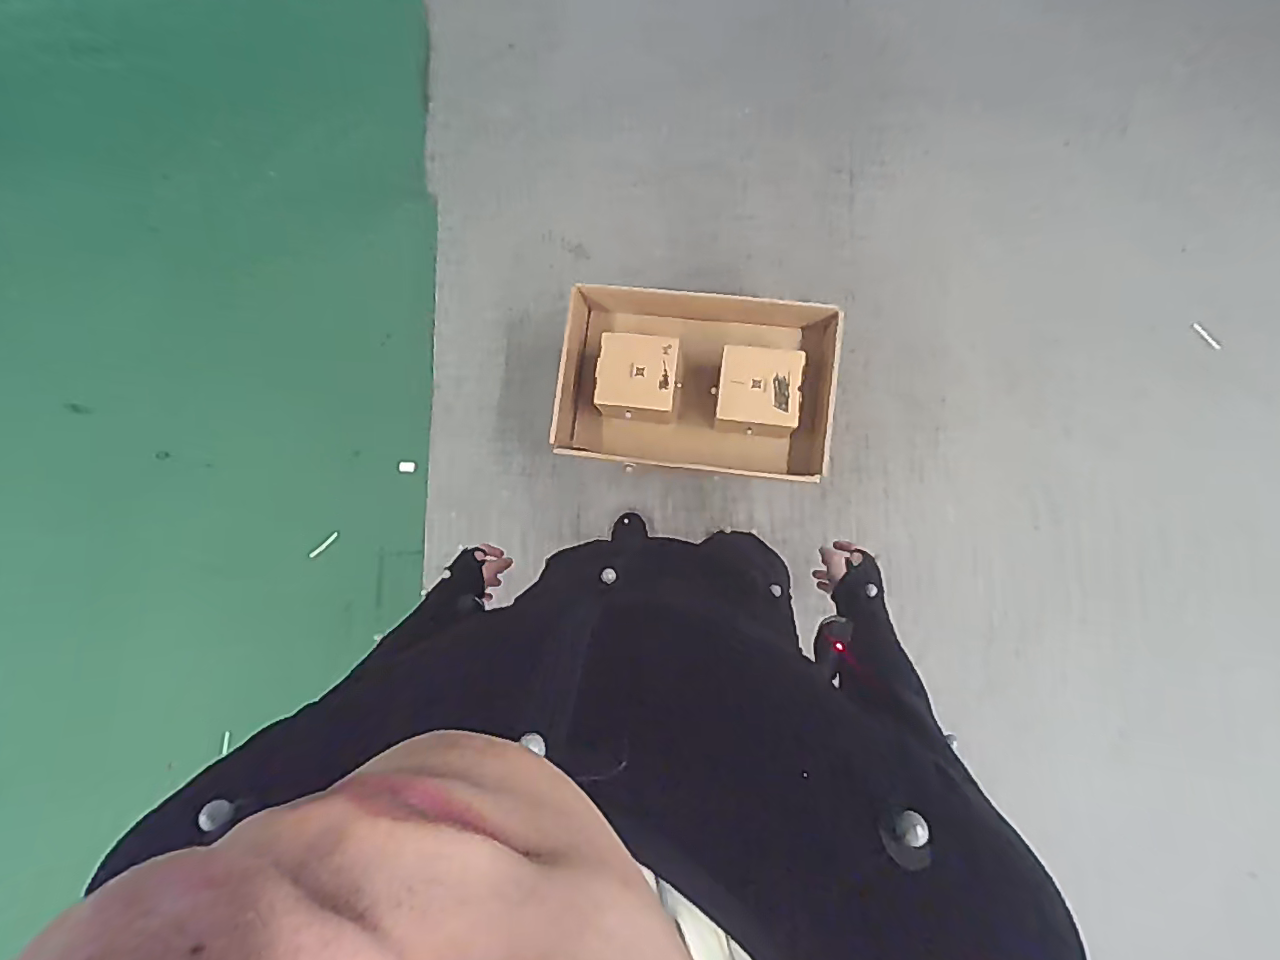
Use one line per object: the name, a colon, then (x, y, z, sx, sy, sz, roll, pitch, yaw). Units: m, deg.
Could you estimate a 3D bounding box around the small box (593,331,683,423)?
small box: (0.002, -0.234, 1.262, 0.179, 0.176, 0.168, 7, 86, 8)
